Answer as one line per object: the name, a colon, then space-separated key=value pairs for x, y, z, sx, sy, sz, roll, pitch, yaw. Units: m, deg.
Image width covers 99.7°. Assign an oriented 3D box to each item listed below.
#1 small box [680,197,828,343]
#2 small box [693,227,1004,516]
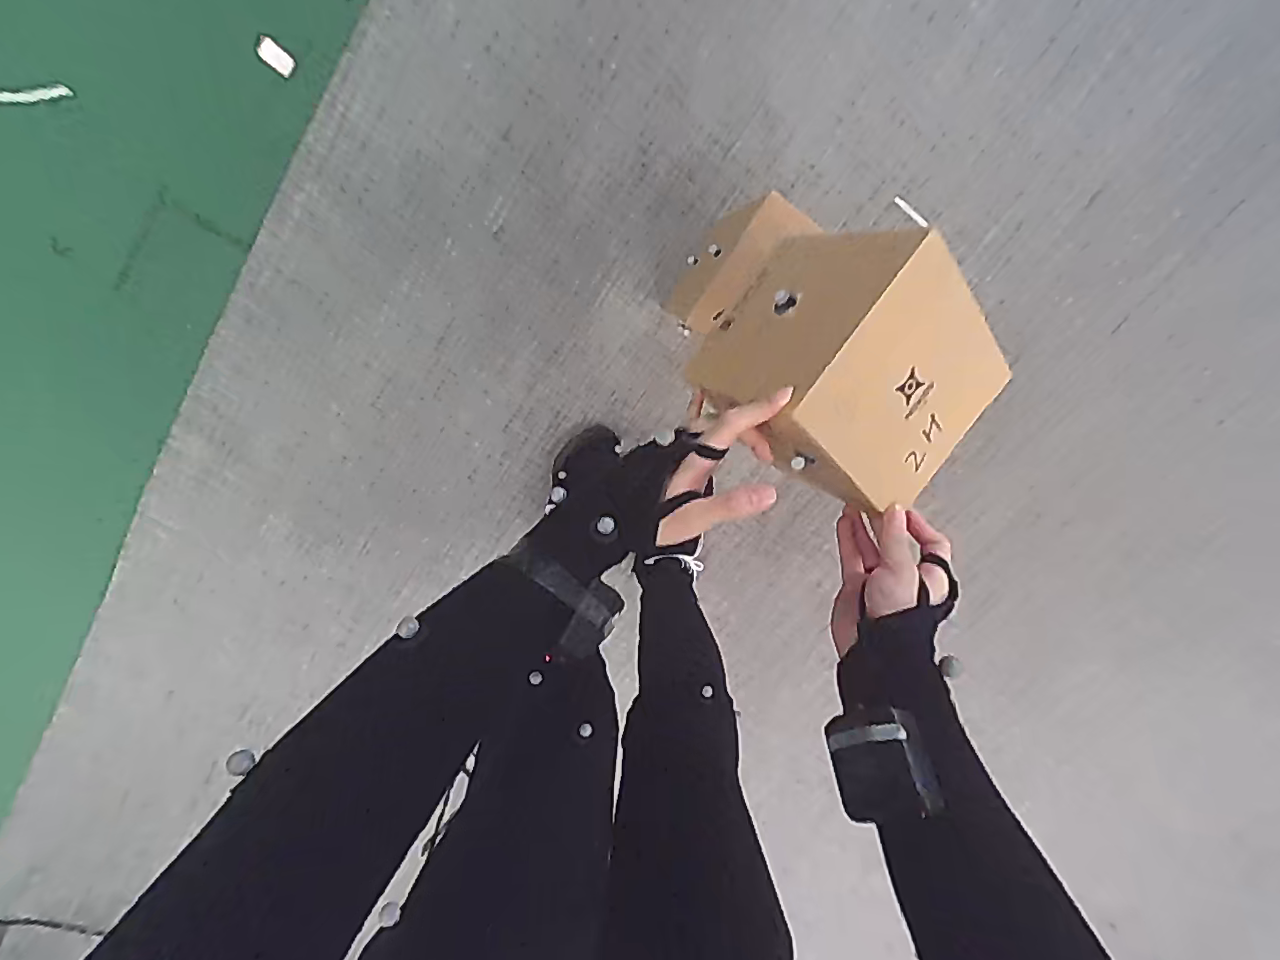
small box: x=0.168 y=-0.245 z=0.737 sx=0.168 sy=0.176 sz=0.179 roll=31 pitch=105 yaw=-14
small box: x=0.181 y=-0.100 z=0.498 sx=0.179 sy=0.176 sz=0.168 roll=37 pitch=91 yaw=-34
